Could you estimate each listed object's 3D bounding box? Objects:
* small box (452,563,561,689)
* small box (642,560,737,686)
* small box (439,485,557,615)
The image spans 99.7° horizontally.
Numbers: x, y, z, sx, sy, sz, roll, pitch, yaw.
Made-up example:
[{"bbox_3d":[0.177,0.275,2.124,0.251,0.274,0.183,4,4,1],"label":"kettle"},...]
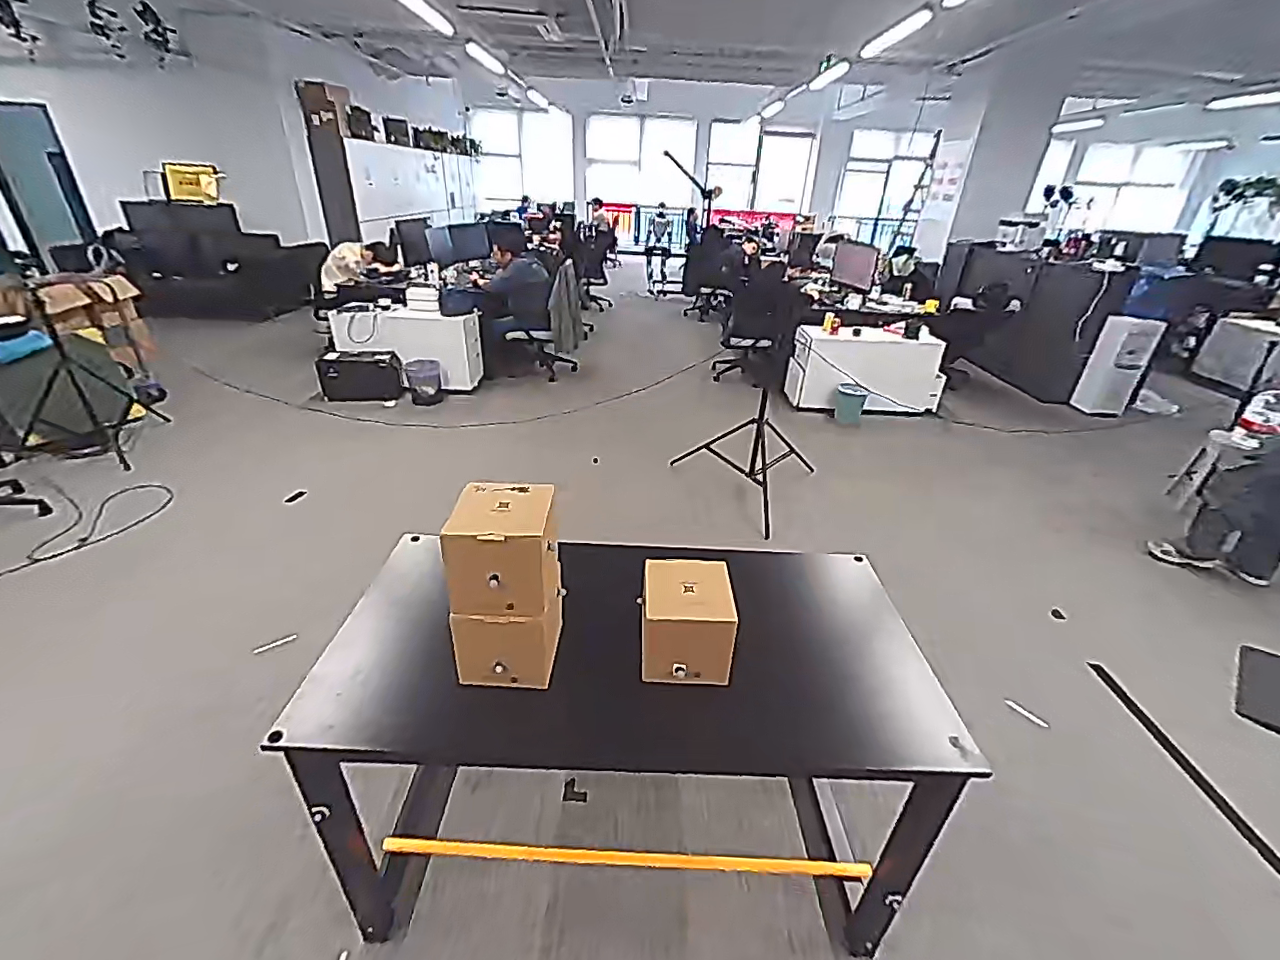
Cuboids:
[{"bbox_3d":[-0.247,0.272,1.043,0.168,0.176,0.179,3,29,1],"label":"small box"},{"bbox_3d":[0.089,0.278,1.068,0.168,0.176,0.179,1,29,-1],"label":"small box"},{"bbox_3d":[-0.242,0.124,0.972,0.168,0.176,0.179,2,29,-2],"label":"small box"}]
